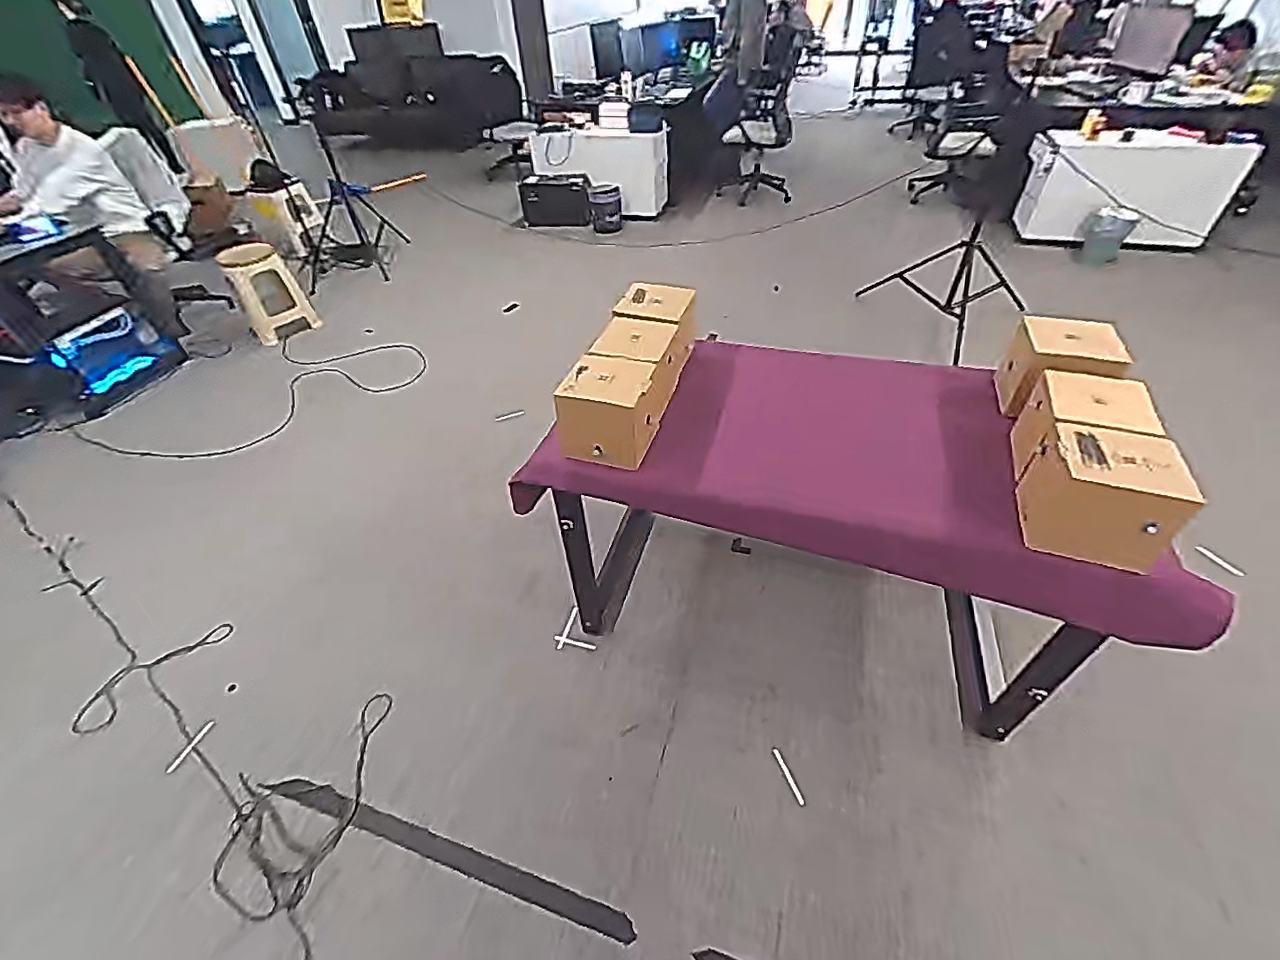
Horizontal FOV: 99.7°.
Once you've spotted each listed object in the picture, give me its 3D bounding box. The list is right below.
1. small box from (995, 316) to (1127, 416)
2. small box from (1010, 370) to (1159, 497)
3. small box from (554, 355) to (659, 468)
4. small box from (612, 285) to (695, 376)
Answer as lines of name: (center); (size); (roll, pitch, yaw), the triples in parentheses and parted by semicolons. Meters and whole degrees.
small box: (0.923, -0.245, 1.210); (0.179, 0.176, 0.168); (12, 47, 15)
small box: (0.856, -0.091, 1.063); (0.168, 0.176, 0.179); (14, 45, 18)
small box: (-0.065, -0.146, 1.177); (0.179, 0.176, 0.168); (12, 45, 14)
small box: (0.039, -0.393, 1.427); (0.179, 0.176, 0.168); (13, 48, 15)
